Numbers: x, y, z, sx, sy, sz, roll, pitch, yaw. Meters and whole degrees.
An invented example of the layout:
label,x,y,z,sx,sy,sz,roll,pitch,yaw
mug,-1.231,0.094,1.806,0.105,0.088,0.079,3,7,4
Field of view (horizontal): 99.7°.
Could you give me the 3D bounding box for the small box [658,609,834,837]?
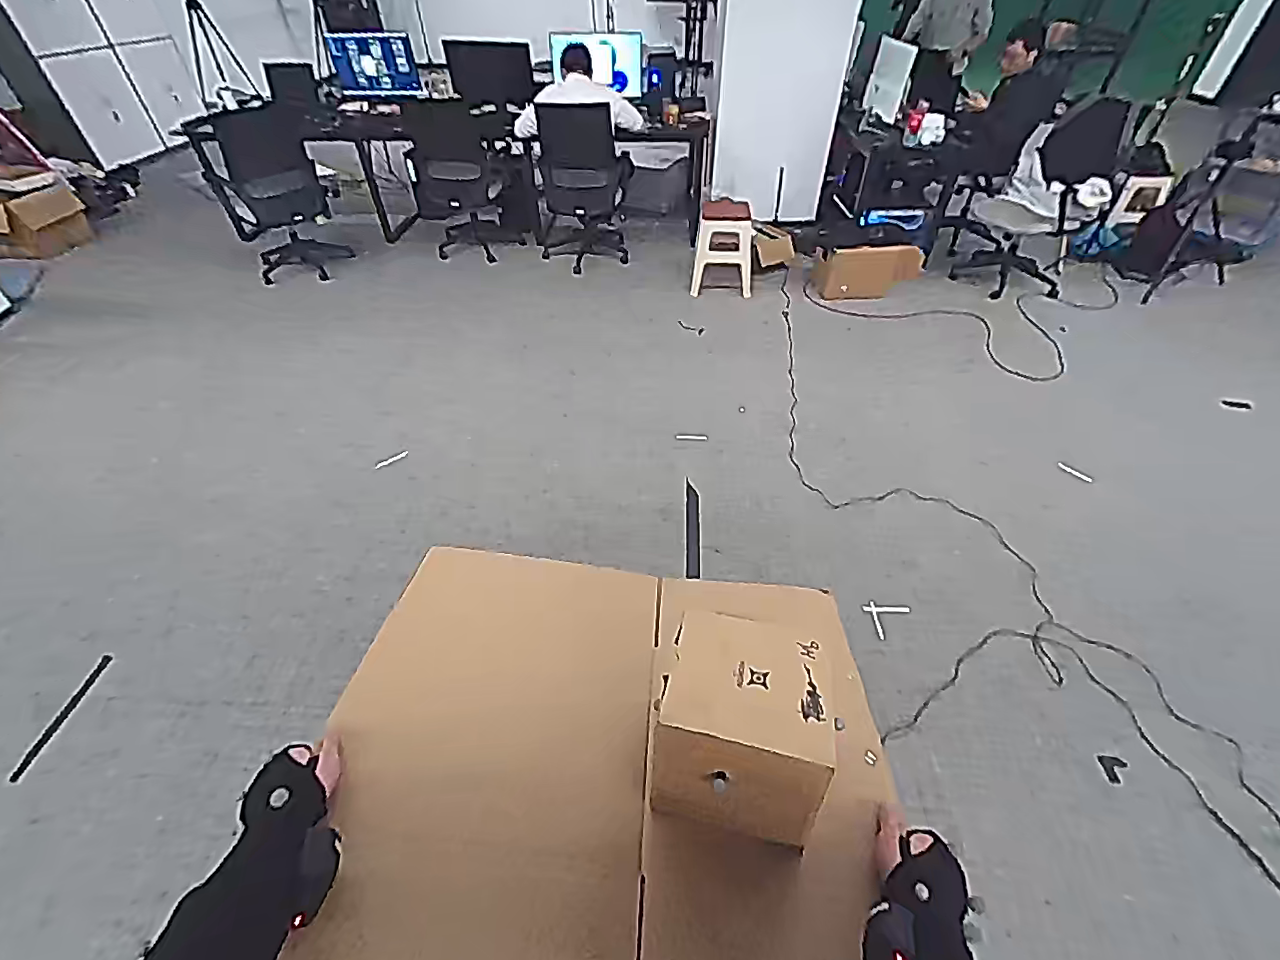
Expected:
label,x,y,z,sx,sy,sz,roll,pitch,yaw
small box,0.121,0.282,0.638,0.179,0.176,0.168,8,34,12
